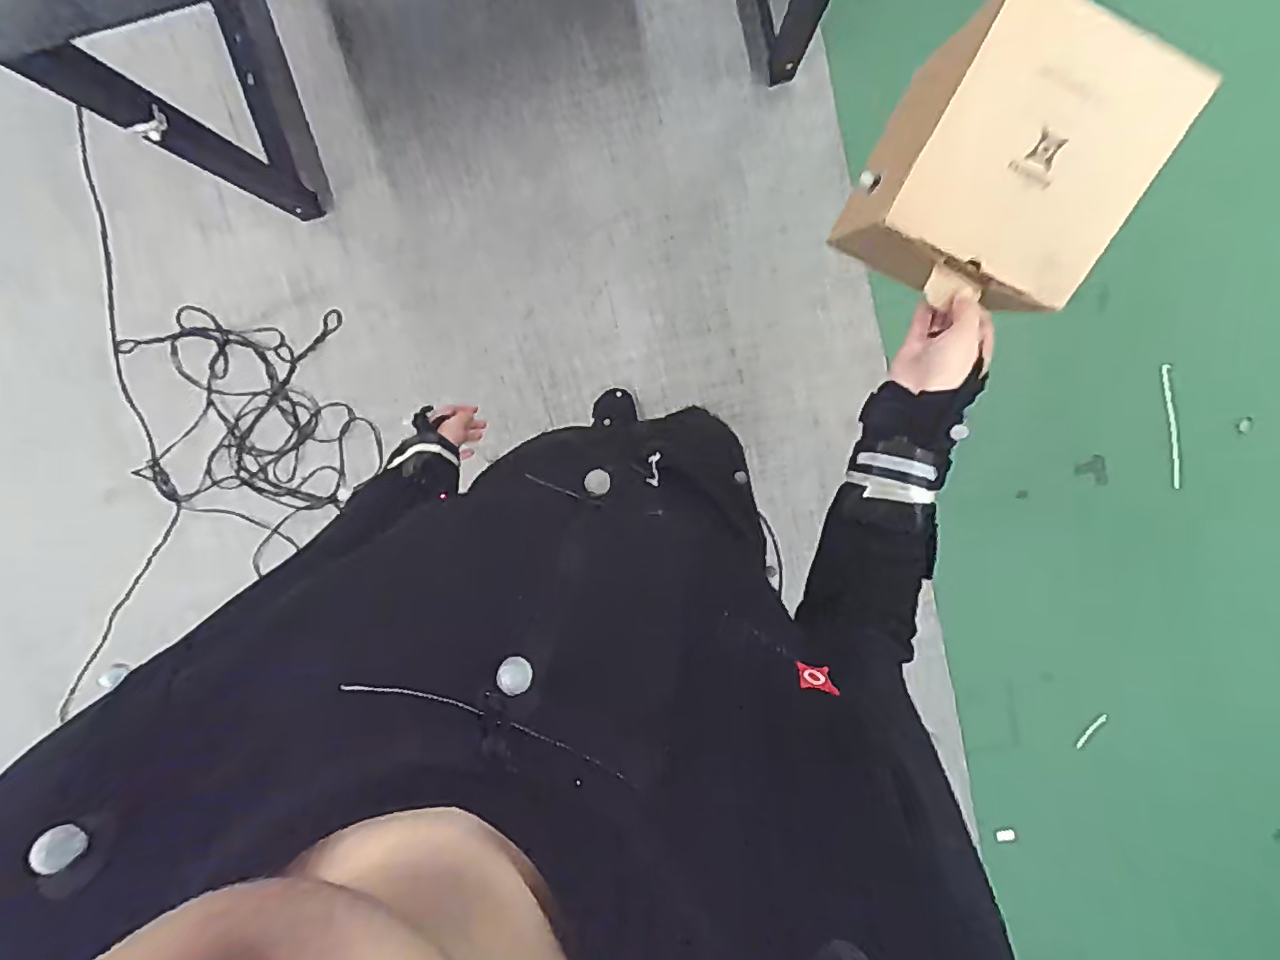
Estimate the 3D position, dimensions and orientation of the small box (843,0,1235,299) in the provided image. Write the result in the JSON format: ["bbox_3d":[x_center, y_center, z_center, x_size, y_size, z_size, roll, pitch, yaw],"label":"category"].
[{"bbox_3d":[0.297,-0.270,0.458,0.168,0.176,0.179,23,108,-6],"label":"small box"}]
